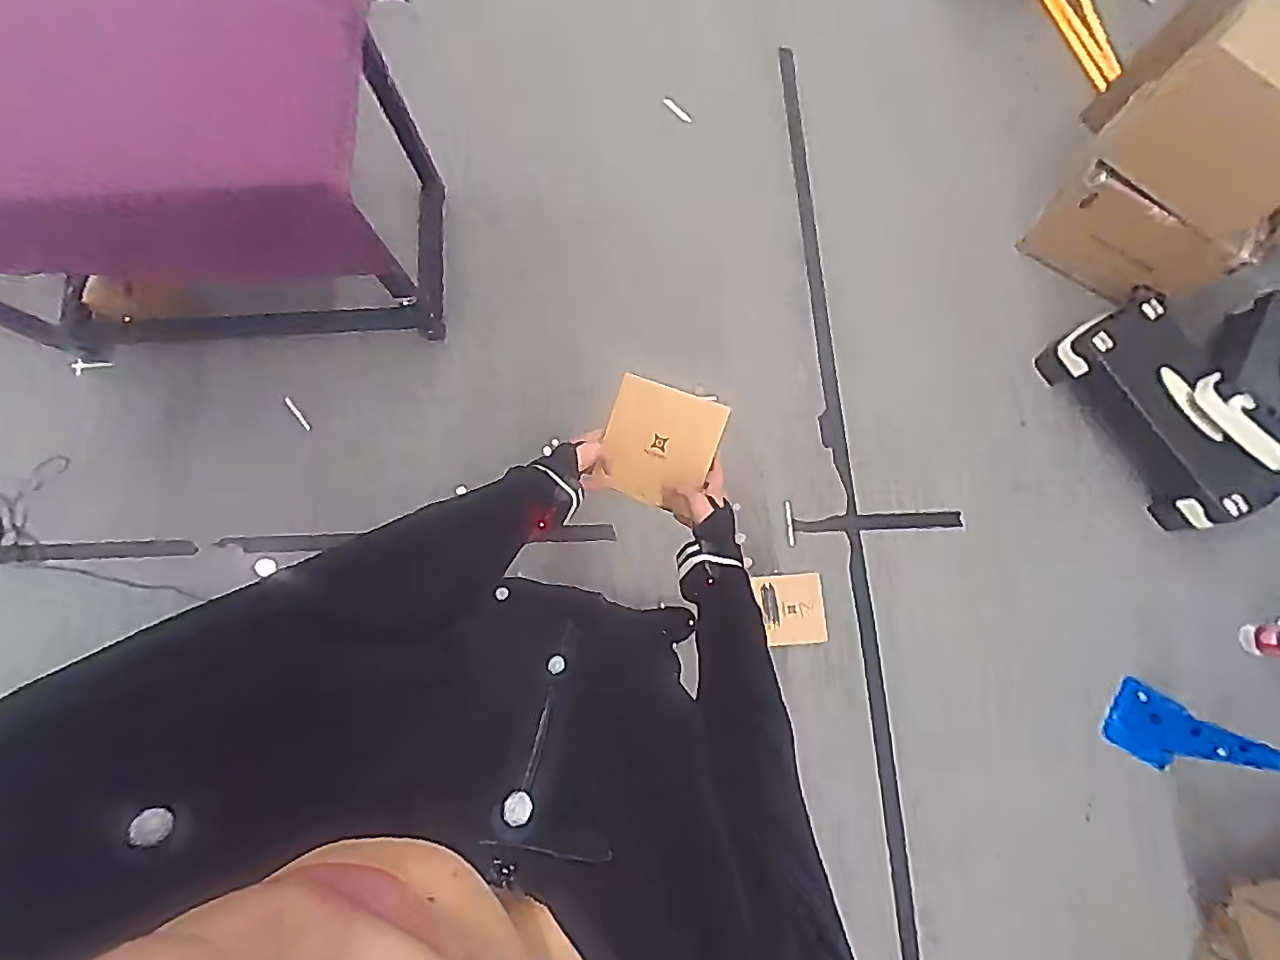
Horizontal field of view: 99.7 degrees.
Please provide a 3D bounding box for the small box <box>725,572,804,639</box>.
[{"bbox_3d":[0.351,0.354,1.547,0.179,0.176,0.168,-6,80,-1],"label":"small box"}]

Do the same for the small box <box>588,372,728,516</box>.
[{"bbox_3d":[0.036,-0.064,0.876,0.168,0.176,0.179,20,102,7],"label":"small box"}]
